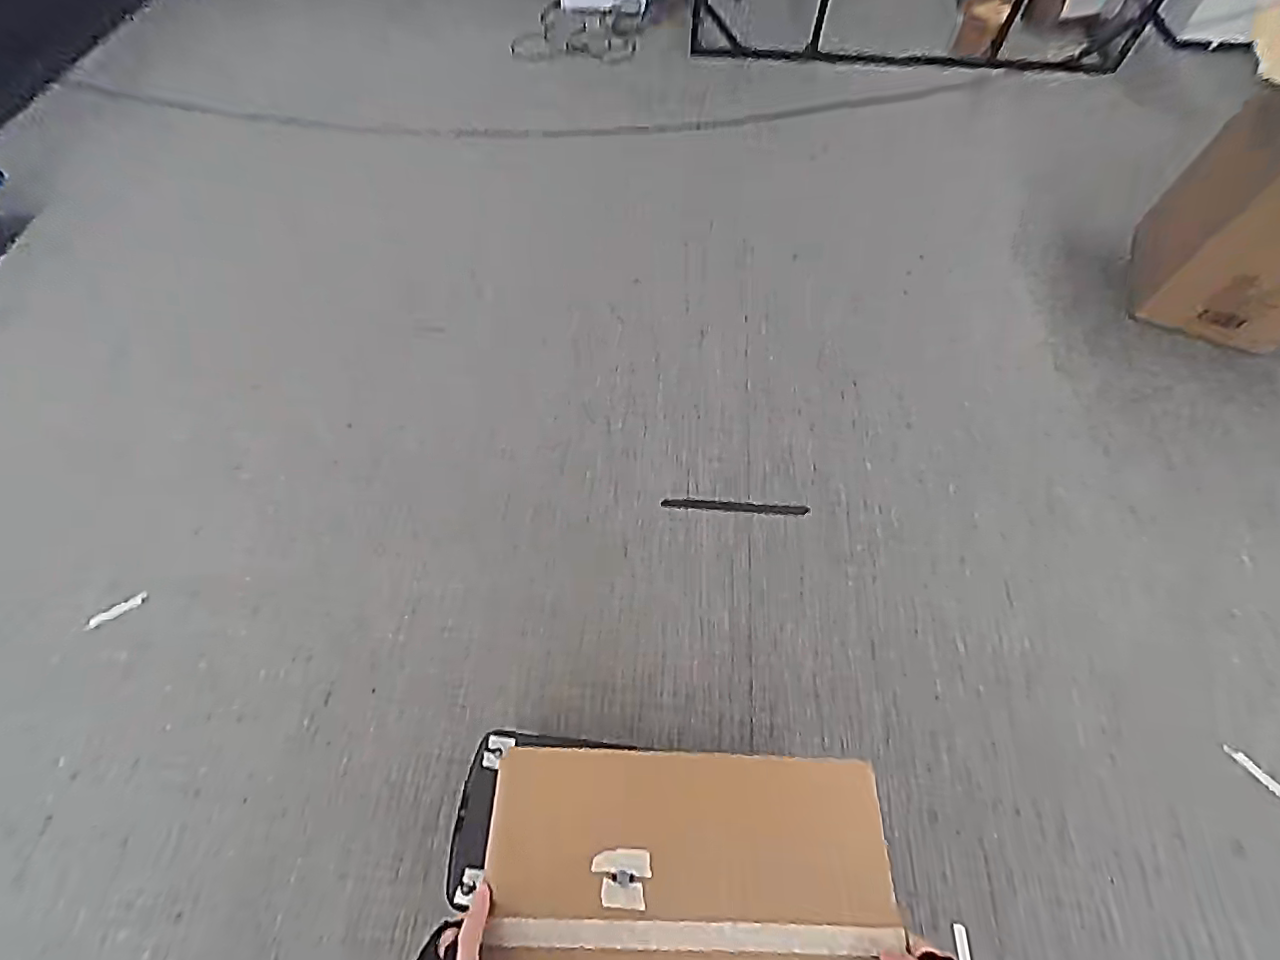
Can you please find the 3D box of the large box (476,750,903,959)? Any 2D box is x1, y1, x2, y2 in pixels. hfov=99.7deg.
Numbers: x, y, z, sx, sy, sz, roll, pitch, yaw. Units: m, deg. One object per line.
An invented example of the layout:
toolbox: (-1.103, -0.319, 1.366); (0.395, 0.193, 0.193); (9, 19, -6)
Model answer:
large box: (0.049, 0.500, 0.636); (0.408, 0.320, 0.320); (1, 60, 1)
